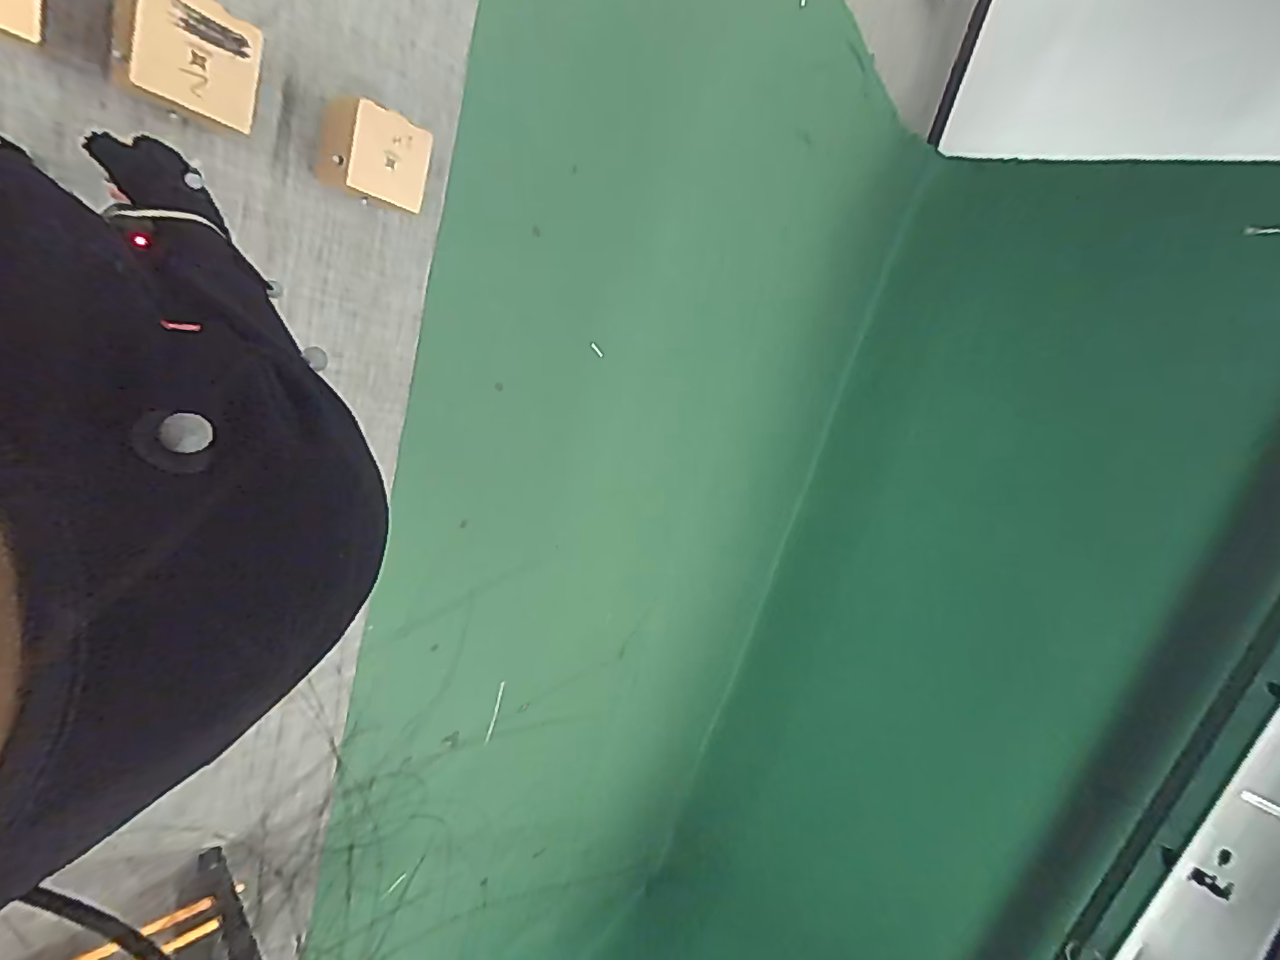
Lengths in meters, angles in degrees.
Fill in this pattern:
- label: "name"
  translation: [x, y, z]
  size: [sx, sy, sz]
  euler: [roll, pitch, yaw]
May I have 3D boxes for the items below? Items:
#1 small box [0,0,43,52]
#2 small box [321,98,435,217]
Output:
- label: "small box"
  translation: [-0.958, -0.743, 0.755]
  size: [0.168, 0.176, 0.179]
  euler: [0, 111, -51]
- label: "small box"
  translation: [-0.595, -0.722, 1.220]
  size: [0.168, 0.176, 0.179]
  euler: [0, 111, -52]
